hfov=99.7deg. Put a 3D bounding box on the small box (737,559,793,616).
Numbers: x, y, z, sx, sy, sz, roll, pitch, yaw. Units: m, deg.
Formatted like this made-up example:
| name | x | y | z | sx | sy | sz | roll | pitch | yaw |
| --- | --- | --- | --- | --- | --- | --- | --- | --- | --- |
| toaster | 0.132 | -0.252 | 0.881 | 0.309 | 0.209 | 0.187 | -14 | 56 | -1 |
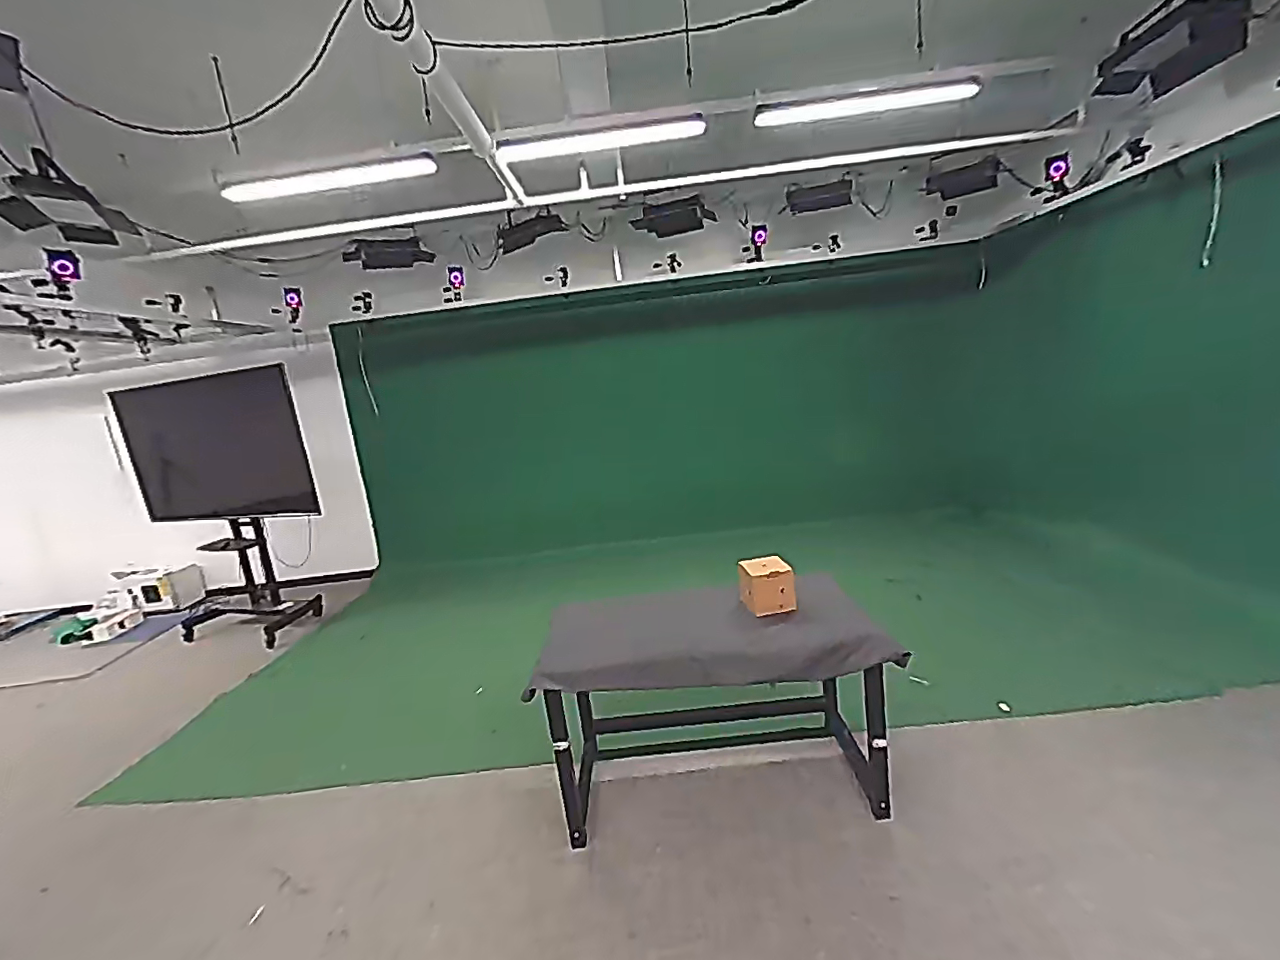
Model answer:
| name | x | y | z | sx | sy | sz | roll | pitch | yaw |
| --- | --- | --- | --- | --- | --- | --- | --- | --- | --- |
| small box | 0.493 | 0.428 | 2.132 | 0.168 | 0.176 | 0.179 | -6 | 9 | -7 |
